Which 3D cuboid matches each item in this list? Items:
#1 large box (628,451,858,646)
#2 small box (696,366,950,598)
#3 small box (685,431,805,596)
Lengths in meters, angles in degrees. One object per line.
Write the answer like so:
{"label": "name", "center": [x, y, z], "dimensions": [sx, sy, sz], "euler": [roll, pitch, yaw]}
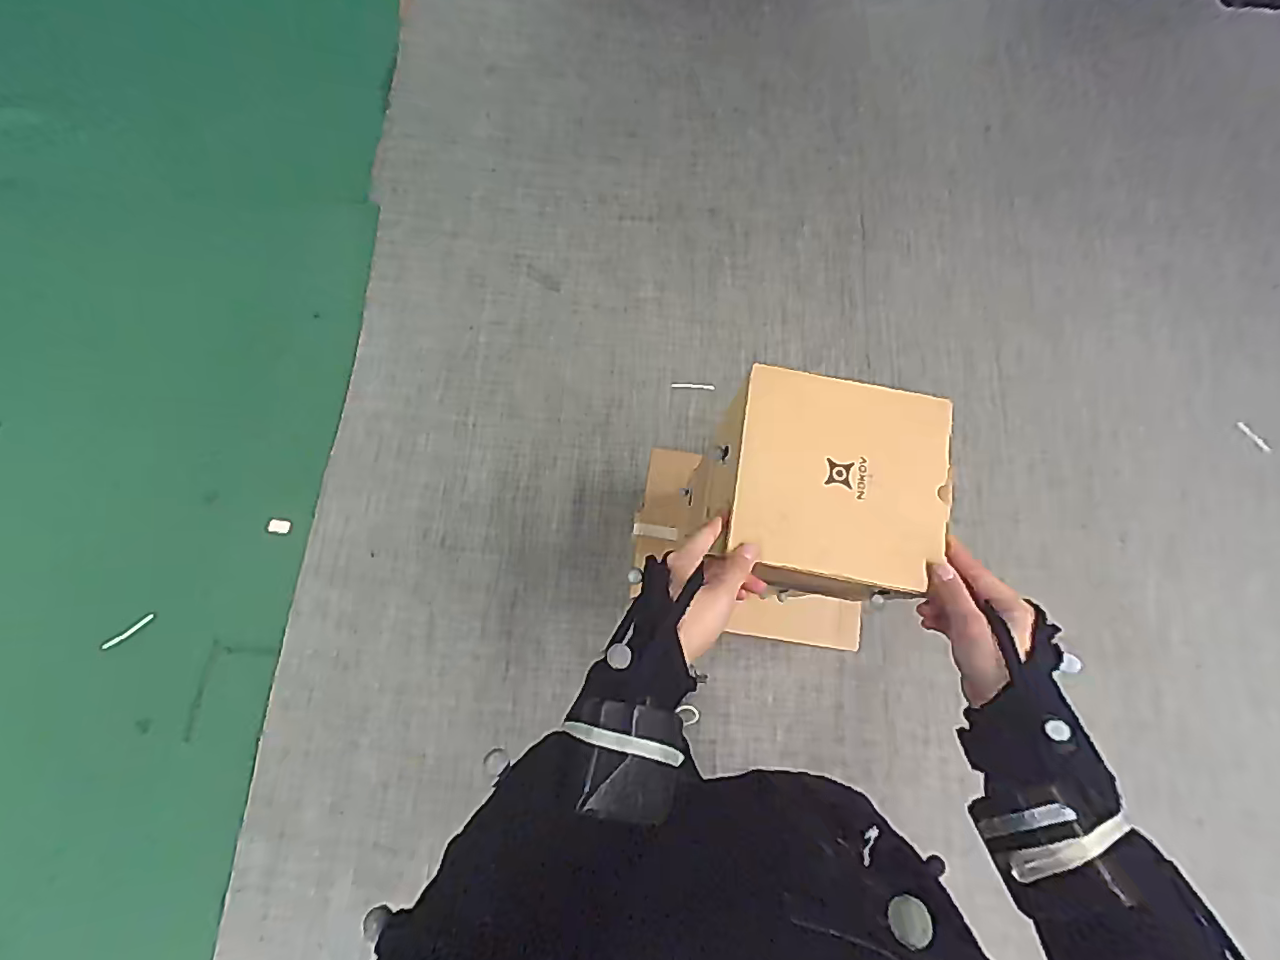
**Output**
{"label": "large box", "center": [0.191, 0.154, 1.113], "dimensions": [0.408, 0.320, 0.320], "euler": [8, 76, 0]}
{"label": "small box", "center": [0.156, 0.016, 0.509], "dimensions": [0.179, 0.176, 0.168], "euler": [10, 76, -2]}
{"label": "small box", "center": [0.155, 0.054, 0.717], "dimensions": [0.168, 0.176, 0.179], "euler": [8, 74, -1]}
